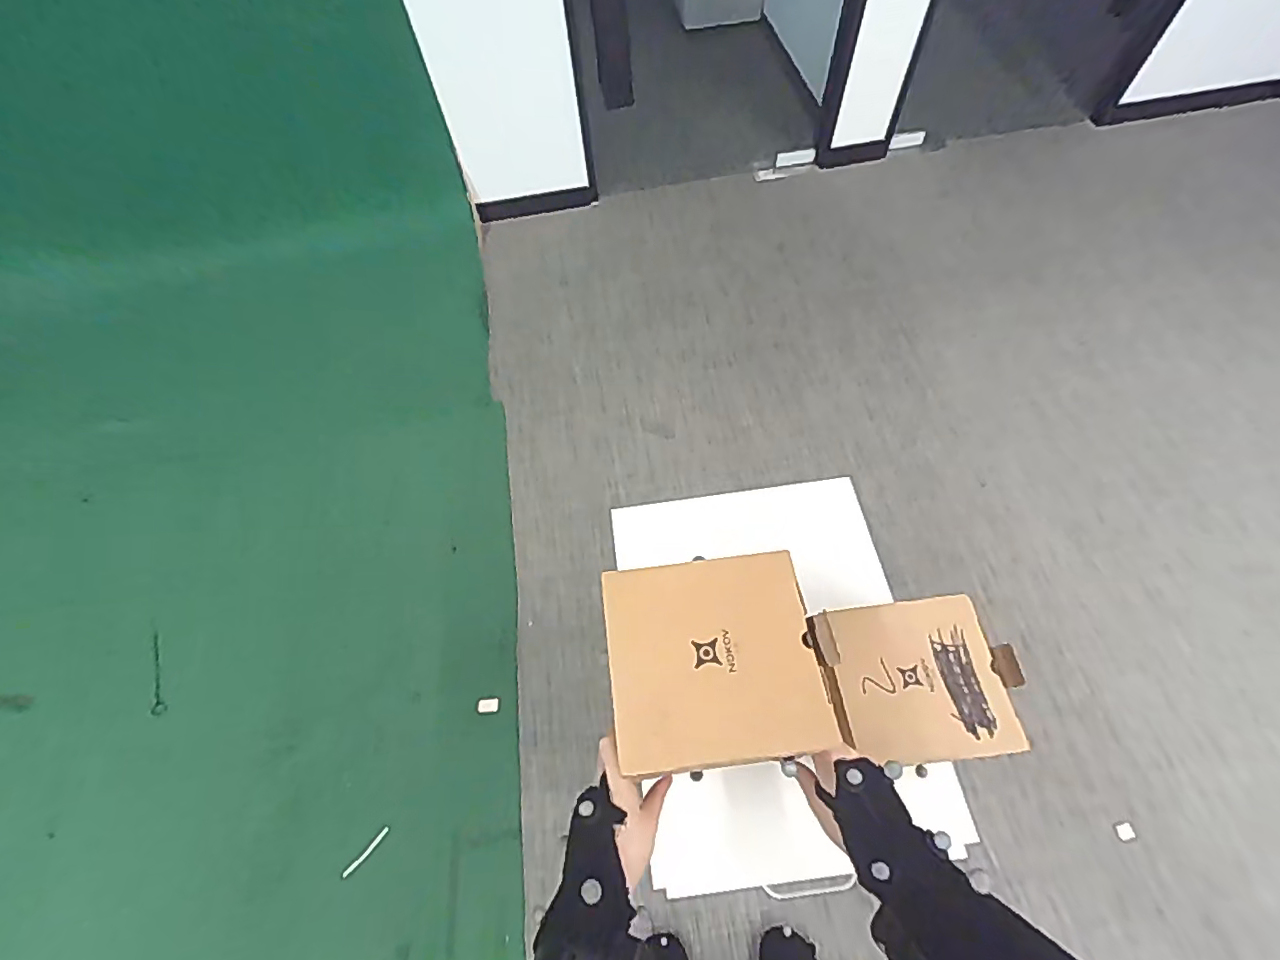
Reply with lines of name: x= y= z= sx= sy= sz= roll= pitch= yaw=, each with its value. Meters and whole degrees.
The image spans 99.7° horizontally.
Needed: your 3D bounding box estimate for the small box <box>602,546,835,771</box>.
small box: x=0.061 y=0.181 z=0.527 sx=0.179 sy=0.176 sz=0.168 roll=-6 pitch=60 yaw=-3
